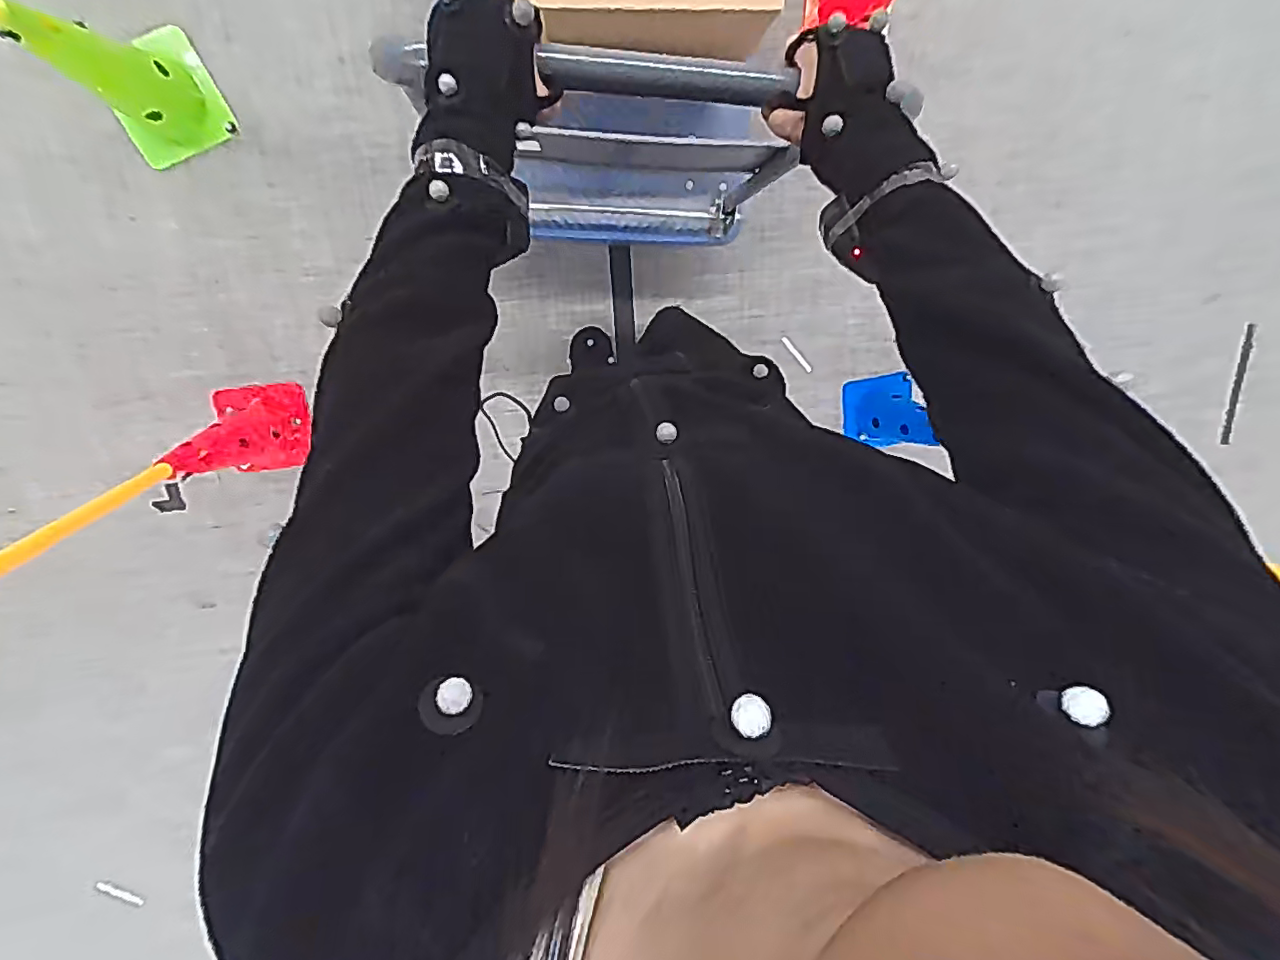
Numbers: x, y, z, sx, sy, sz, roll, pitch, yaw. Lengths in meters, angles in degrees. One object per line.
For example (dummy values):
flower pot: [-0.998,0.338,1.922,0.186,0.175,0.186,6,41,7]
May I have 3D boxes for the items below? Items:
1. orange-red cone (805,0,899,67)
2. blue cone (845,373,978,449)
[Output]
orange-red cone: [0.493,-0.981,1.026,0.199,0.360,0.198,0,108,-9]
blue cone: [0.680,-0.142,1.329,0.193,0.380,0.192,-10,107,-6]
